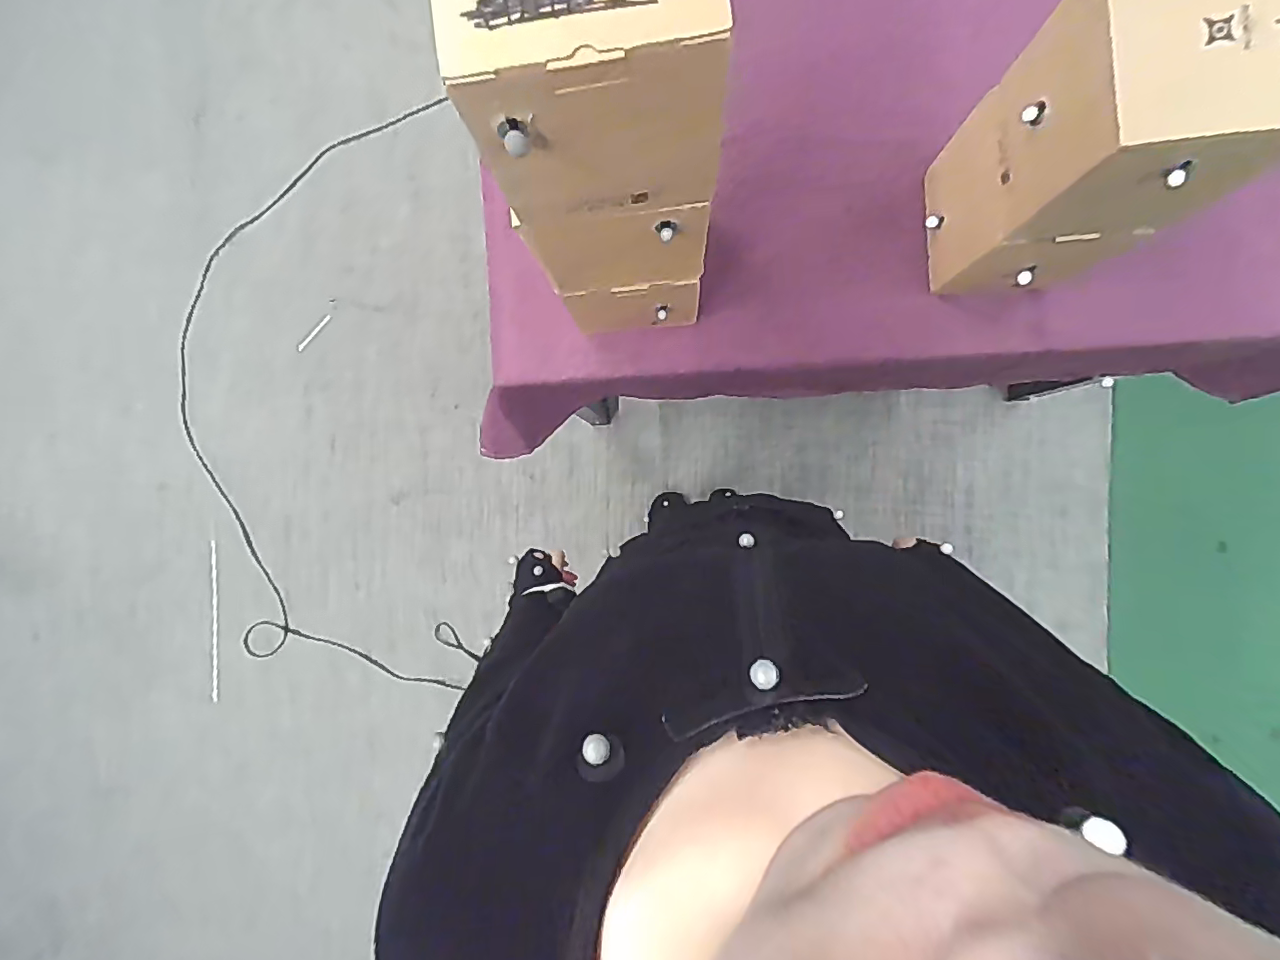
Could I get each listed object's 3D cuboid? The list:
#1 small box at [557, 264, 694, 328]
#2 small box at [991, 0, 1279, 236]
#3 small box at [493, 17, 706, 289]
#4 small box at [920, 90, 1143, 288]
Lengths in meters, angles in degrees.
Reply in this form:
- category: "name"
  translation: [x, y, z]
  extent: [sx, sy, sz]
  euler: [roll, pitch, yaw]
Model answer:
- category: "small box"
  translation: [-0.016, -0.307, 0.710]
  extent: [0.168, 0.176, 0.179]
  euler: [-4, 89, 3]
- category: "small box"
  translation: [0.461, -0.349, 0.509]
  extent: [0.179, 0.176, 0.168]
  euler: [-3, 90, 4]
- category: "small box"
  translation: [-0.032, -0.308, 0.548]
  extent: [0.179, 0.176, 0.168]
  euler: [-6, 89, 2]
- category: "small box"
  translation: [0.470, -0.350, 0.675]
  extent: [0.168, 0.176, 0.179]
  euler: [-3, 90, 4]
